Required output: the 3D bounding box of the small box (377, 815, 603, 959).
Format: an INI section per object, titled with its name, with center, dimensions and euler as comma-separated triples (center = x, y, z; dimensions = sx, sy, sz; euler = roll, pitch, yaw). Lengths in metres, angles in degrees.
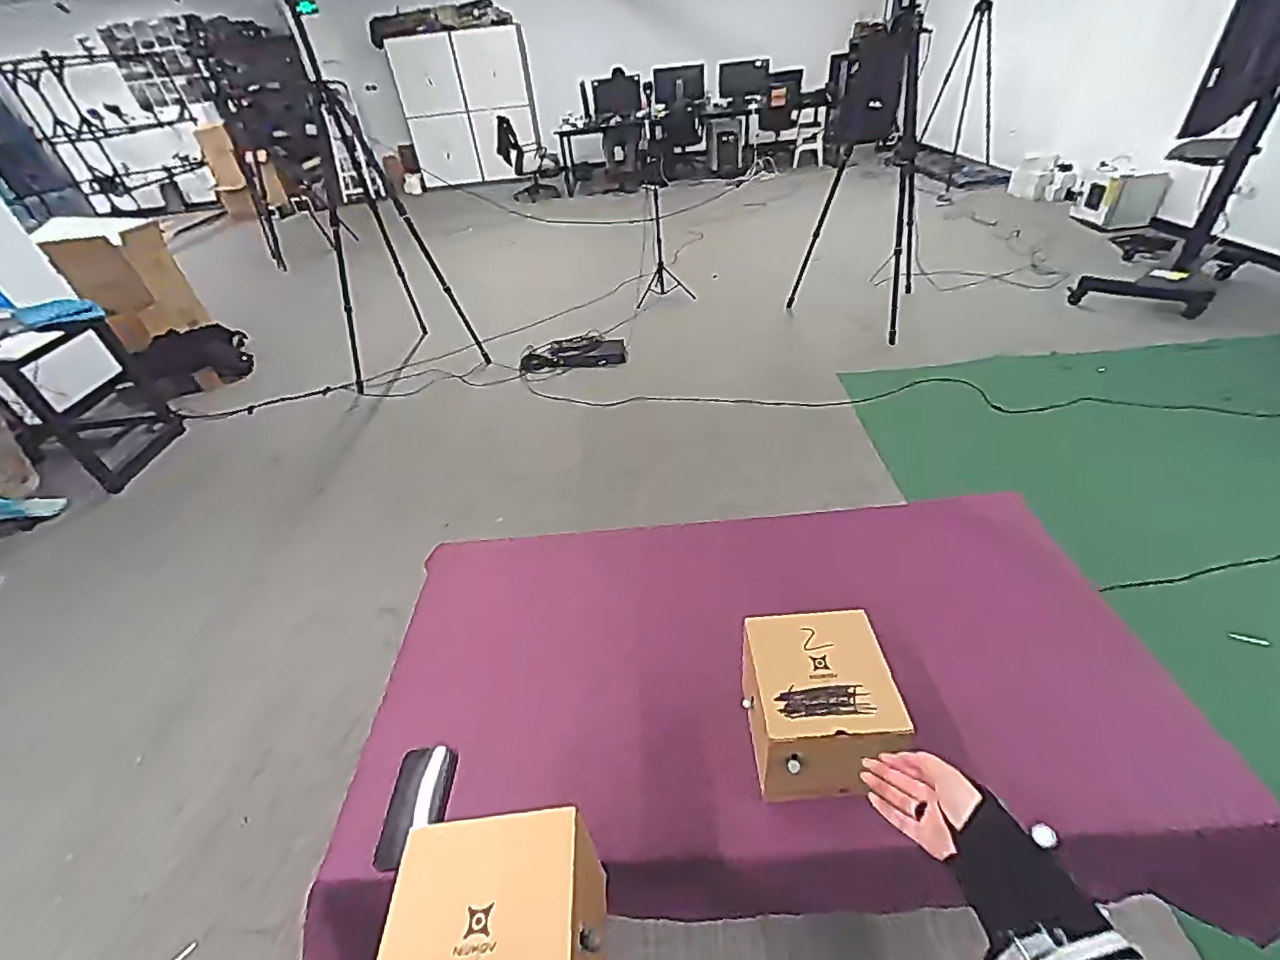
[small box]
center = -0.130, 0.449, 0.504
dimensions = 0.168, 0.176, 0.179
euler = -8, 36, 1
